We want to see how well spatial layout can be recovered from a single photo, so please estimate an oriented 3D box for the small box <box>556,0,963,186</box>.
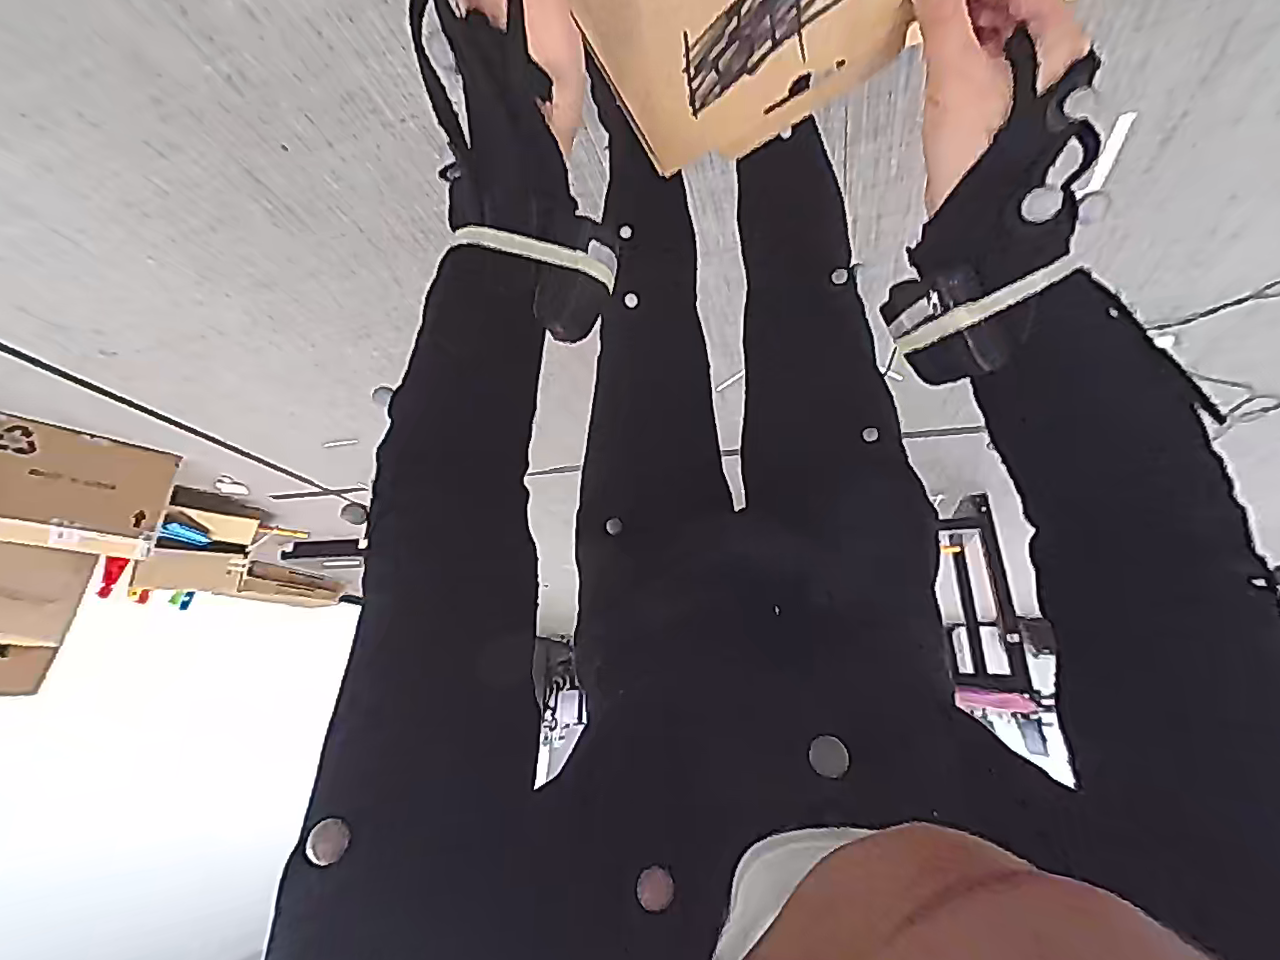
[{"bbox_3d":[0.034,-0.299,0.261,0.168,0.176,0.179,-22,146,23],"label":"small box"}]
